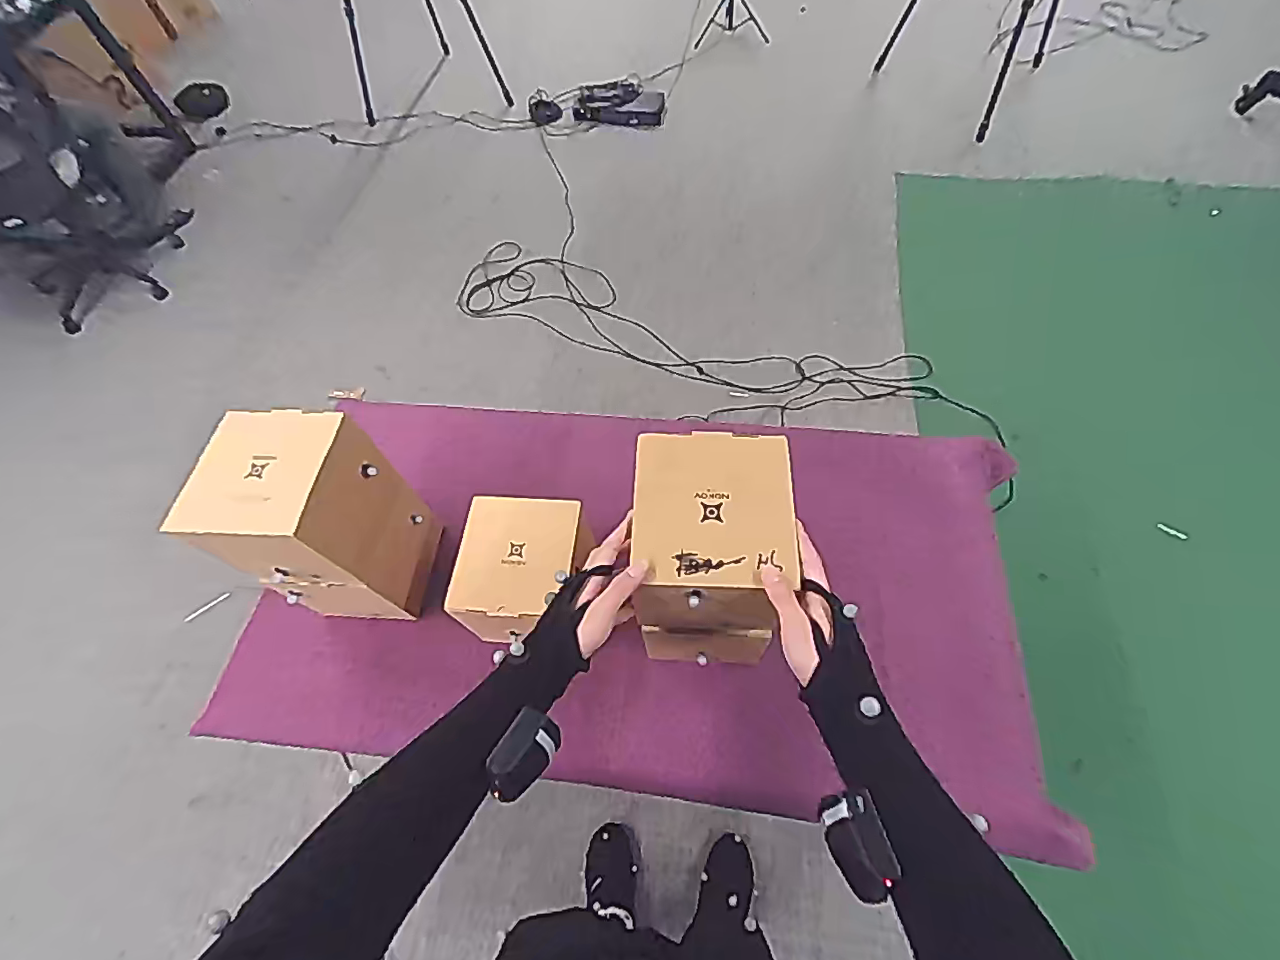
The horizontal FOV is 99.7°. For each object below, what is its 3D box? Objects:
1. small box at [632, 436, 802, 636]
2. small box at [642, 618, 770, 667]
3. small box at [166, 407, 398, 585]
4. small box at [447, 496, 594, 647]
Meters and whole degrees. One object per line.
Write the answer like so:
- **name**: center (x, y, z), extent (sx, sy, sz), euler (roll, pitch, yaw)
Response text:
- **small box**: center (0.082, 0.069, 0.627), extent (0.168, 0.176, 0.179), euler (2, 61, 5)
- **small box**: center (0.095, 0.164, 0.795), extent (0.168, 0.176, 0.179), euler (2, 61, 6)
- **small box**: center (-0.452, 0.024, 0.722), extent (0.168, 0.176, 0.179), euler (3, 60, 5)
- **small box**: center (-0.168, 0.143, 0.826), extent (0.168, 0.176, 0.179), euler (3, 61, 5)
